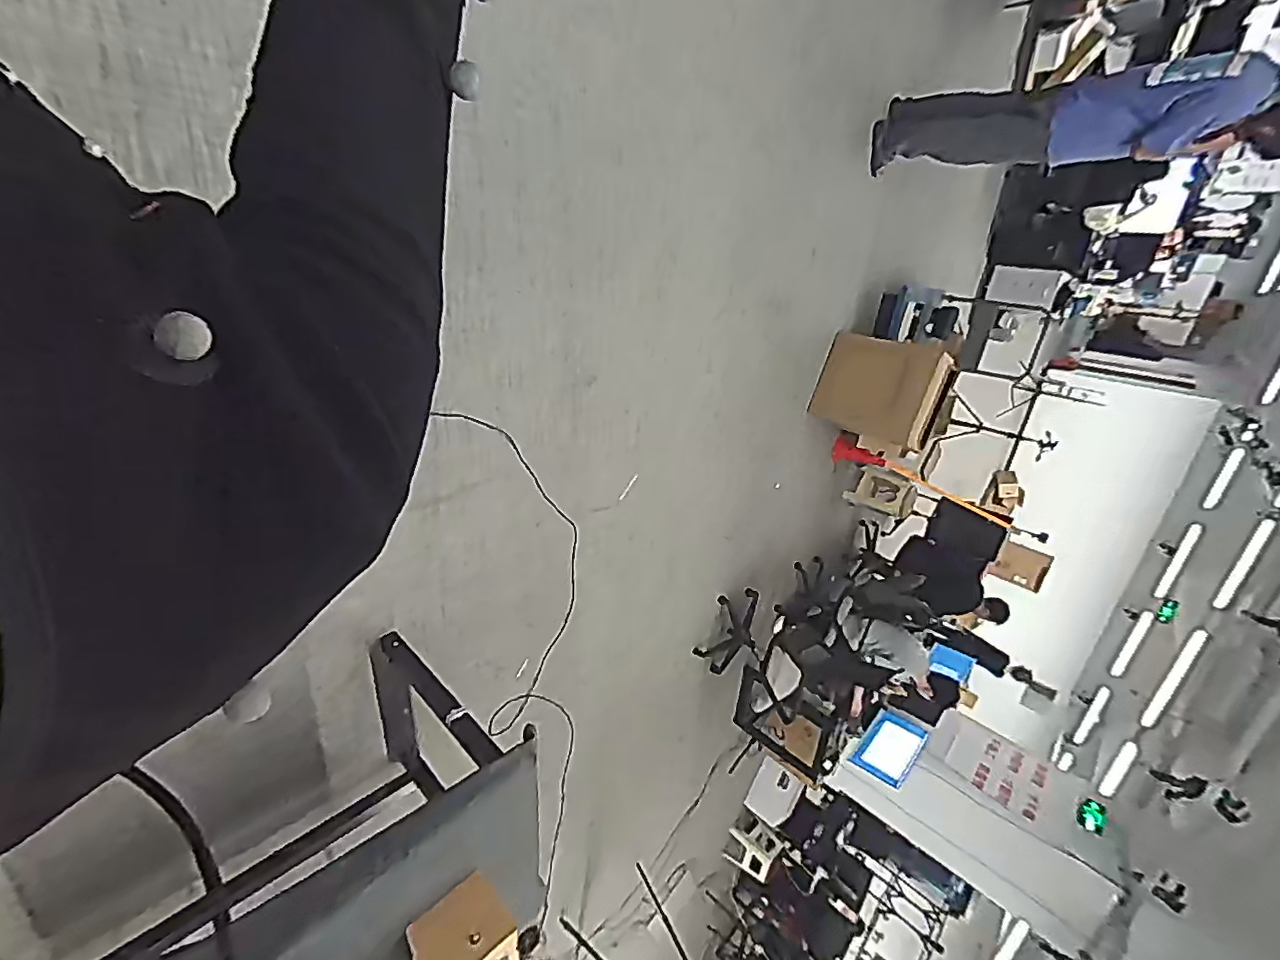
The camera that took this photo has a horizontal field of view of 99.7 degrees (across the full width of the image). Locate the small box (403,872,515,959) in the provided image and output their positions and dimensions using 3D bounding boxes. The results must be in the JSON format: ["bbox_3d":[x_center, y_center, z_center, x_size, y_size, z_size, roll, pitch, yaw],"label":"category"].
[{"bbox_3d":[-0.400,1.037,1.204,0.179,0.176,0.168,-21,125,-41],"label":"small box"}]
